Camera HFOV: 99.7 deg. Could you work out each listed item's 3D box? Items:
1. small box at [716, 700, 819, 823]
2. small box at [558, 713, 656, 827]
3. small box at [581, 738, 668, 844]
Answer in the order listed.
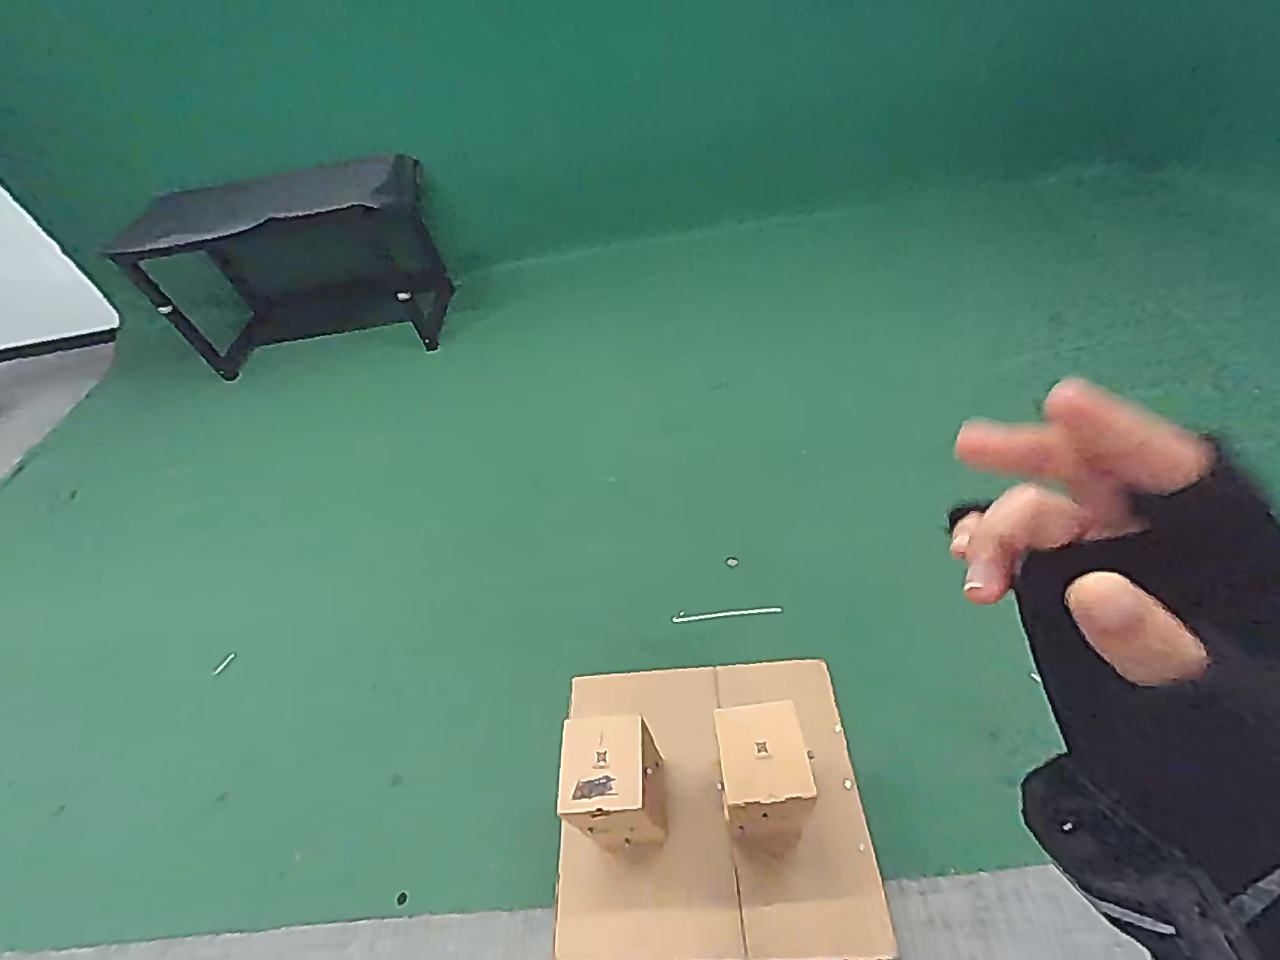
[{"bbox_3d":[0.247,0.567,1.088,0.168,0.176,0.179,-9,47,4],"label":"small box"},{"bbox_3d":[-0.060,0.603,1.115,0.168,0.176,0.179,-7,47,7],"label":"small box"},{"bbox_3d":[-0.032,0.712,1.235,0.168,0.176,0.179,-9,48,6],"label":"small box"}]
